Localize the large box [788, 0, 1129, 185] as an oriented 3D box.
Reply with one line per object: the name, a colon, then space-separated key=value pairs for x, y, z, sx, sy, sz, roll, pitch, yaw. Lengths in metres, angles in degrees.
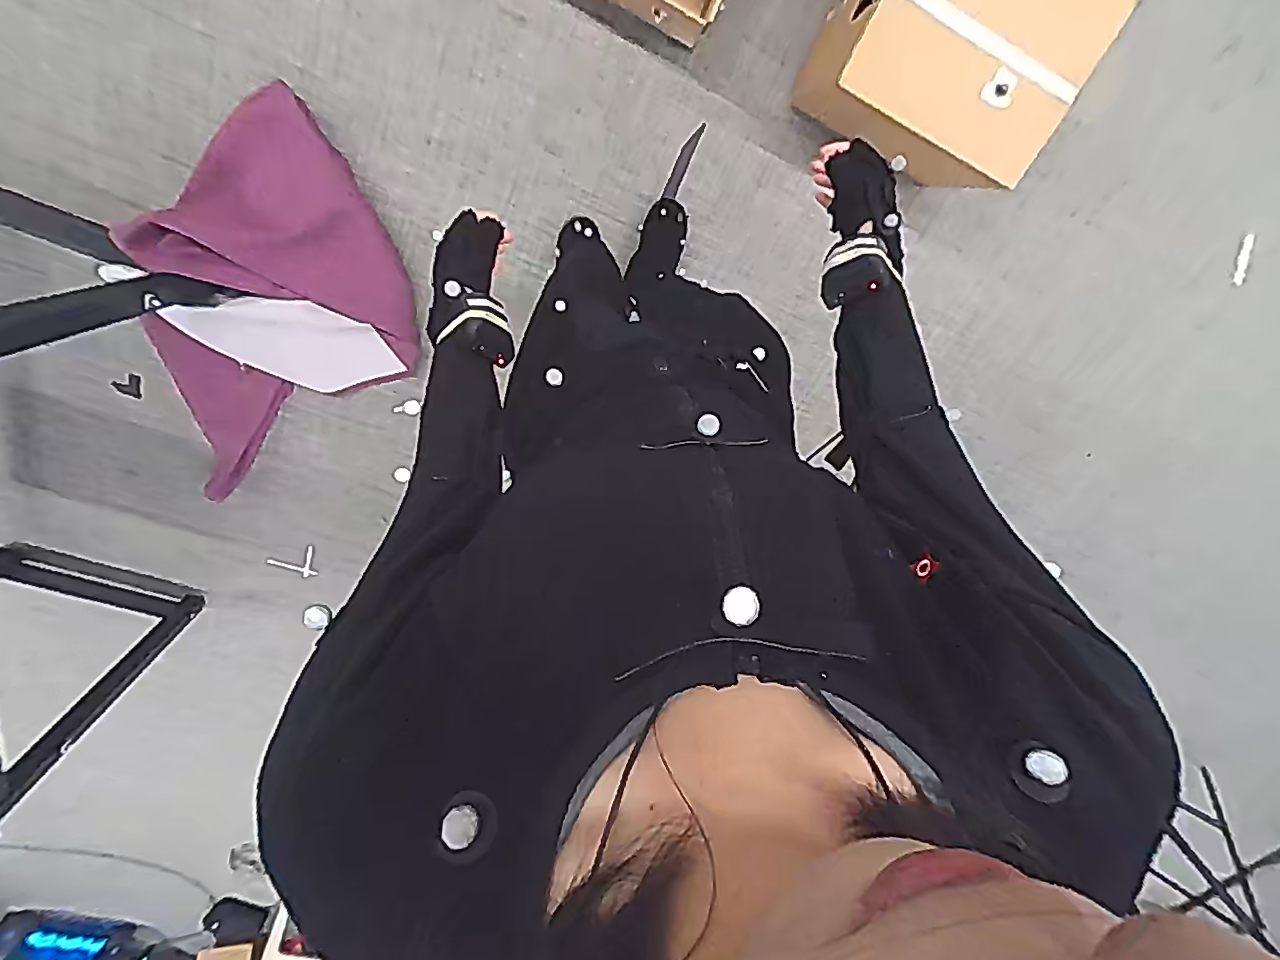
large box: x=0.567 y=-0.814 z=1.045 sx=0.408 sy=0.320 sz=0.320 roll=19 pitch=117 yaw=-14
